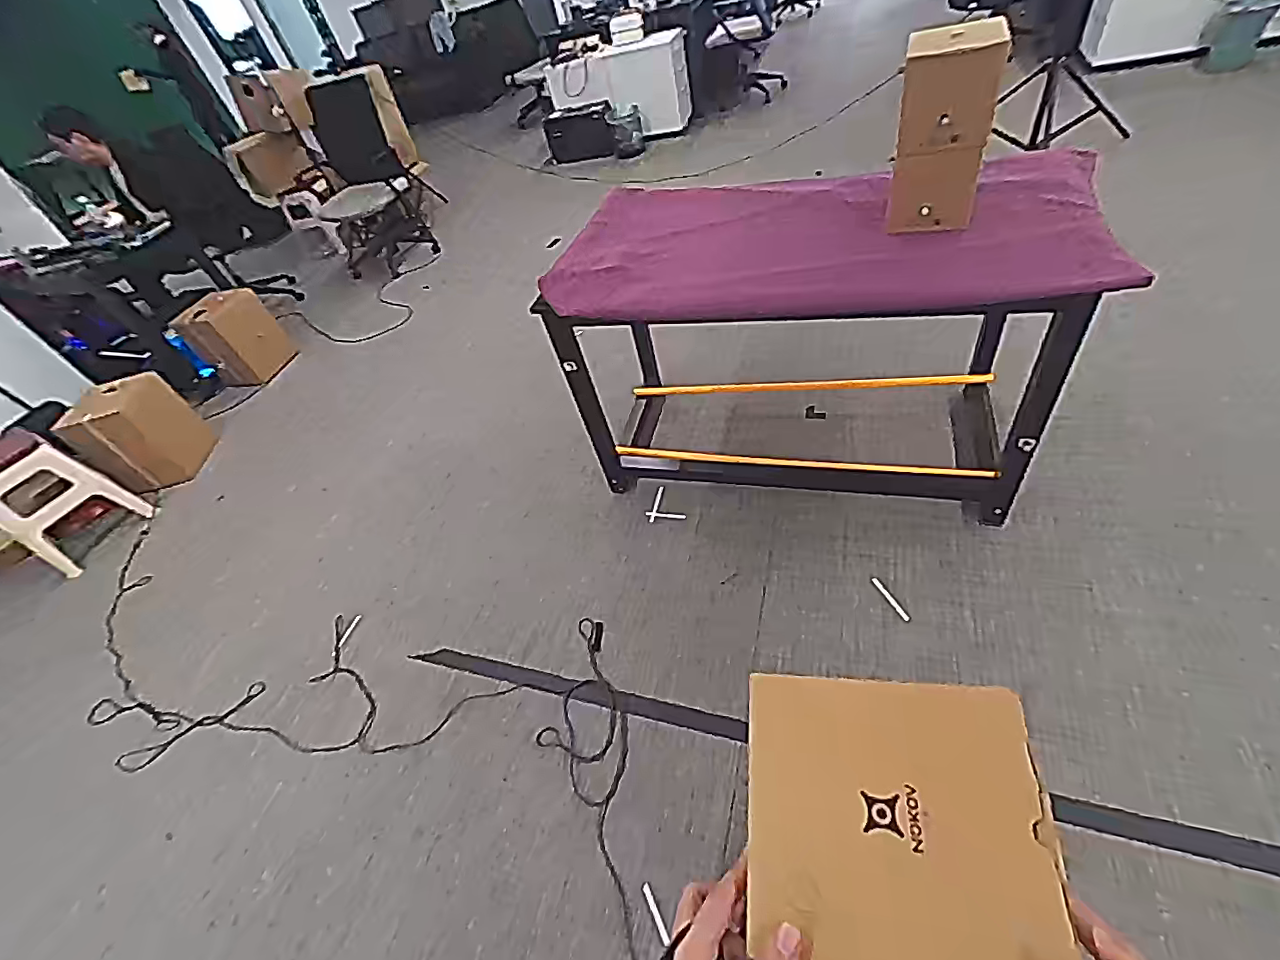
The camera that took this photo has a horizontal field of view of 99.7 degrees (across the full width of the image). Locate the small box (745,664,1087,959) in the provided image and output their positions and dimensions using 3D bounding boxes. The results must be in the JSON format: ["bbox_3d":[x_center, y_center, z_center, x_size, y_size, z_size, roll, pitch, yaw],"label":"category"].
[{"bbox_3d":[0.176,0.247,0.398,0.179,0.176,0.168,-2,55,16],"label":"small box"}]

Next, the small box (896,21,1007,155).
[{"bbox_3d":[0.611,-0.775,1.078,0.168,0.176,0.179,6,51,23],"label":"small box"}]

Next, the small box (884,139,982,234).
[{"bbox_3d":[0.644,-0.667,1.198,0.168,0.176,0.179,7,52,22],"label":"small box"}]
